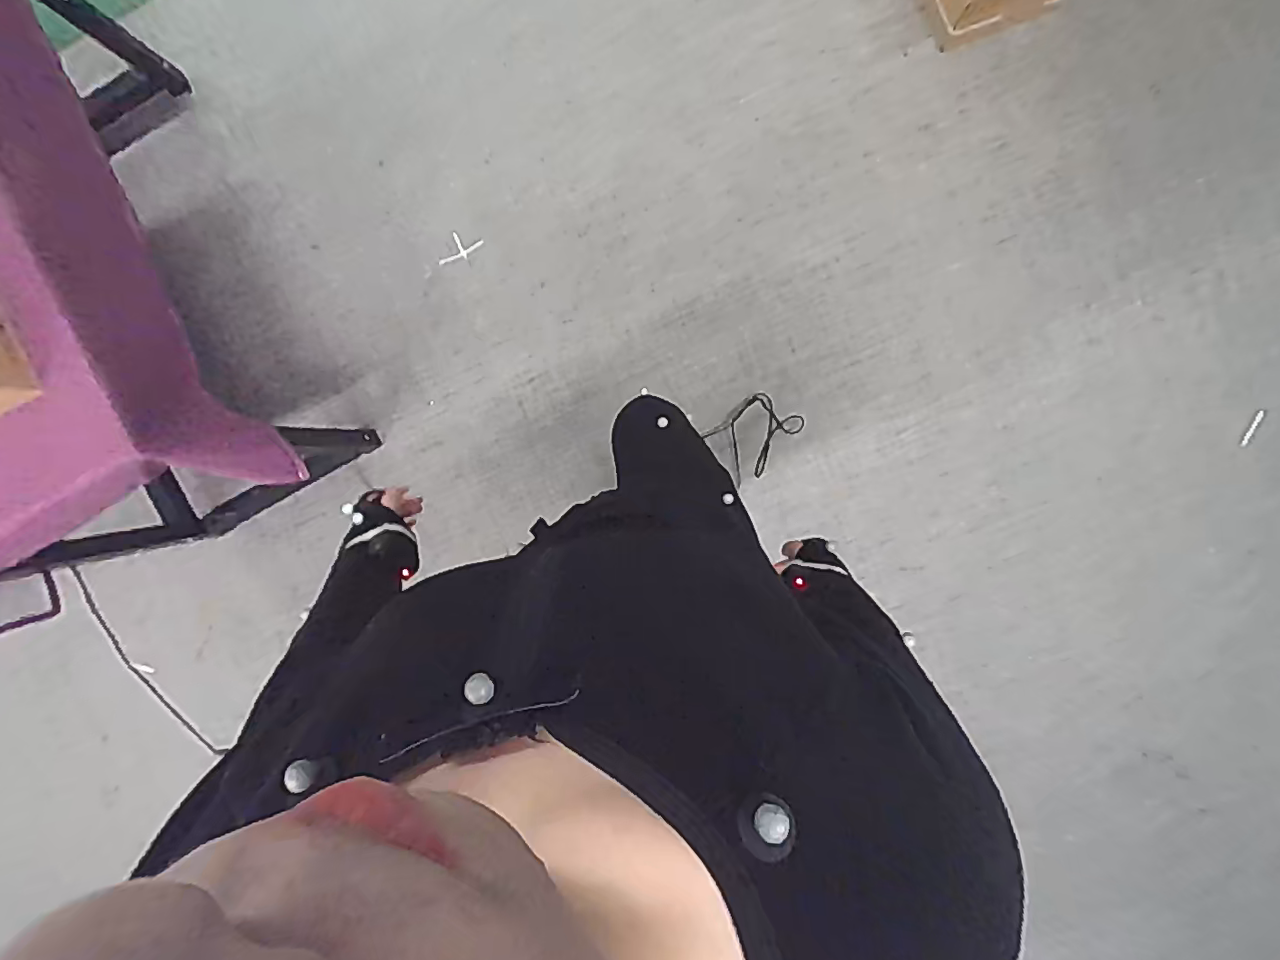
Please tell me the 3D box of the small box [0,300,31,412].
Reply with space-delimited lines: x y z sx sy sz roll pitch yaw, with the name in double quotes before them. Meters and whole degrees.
"small box" -1.003 -0.171 0.733 0.179 0.176 0.168 -24 92 5
